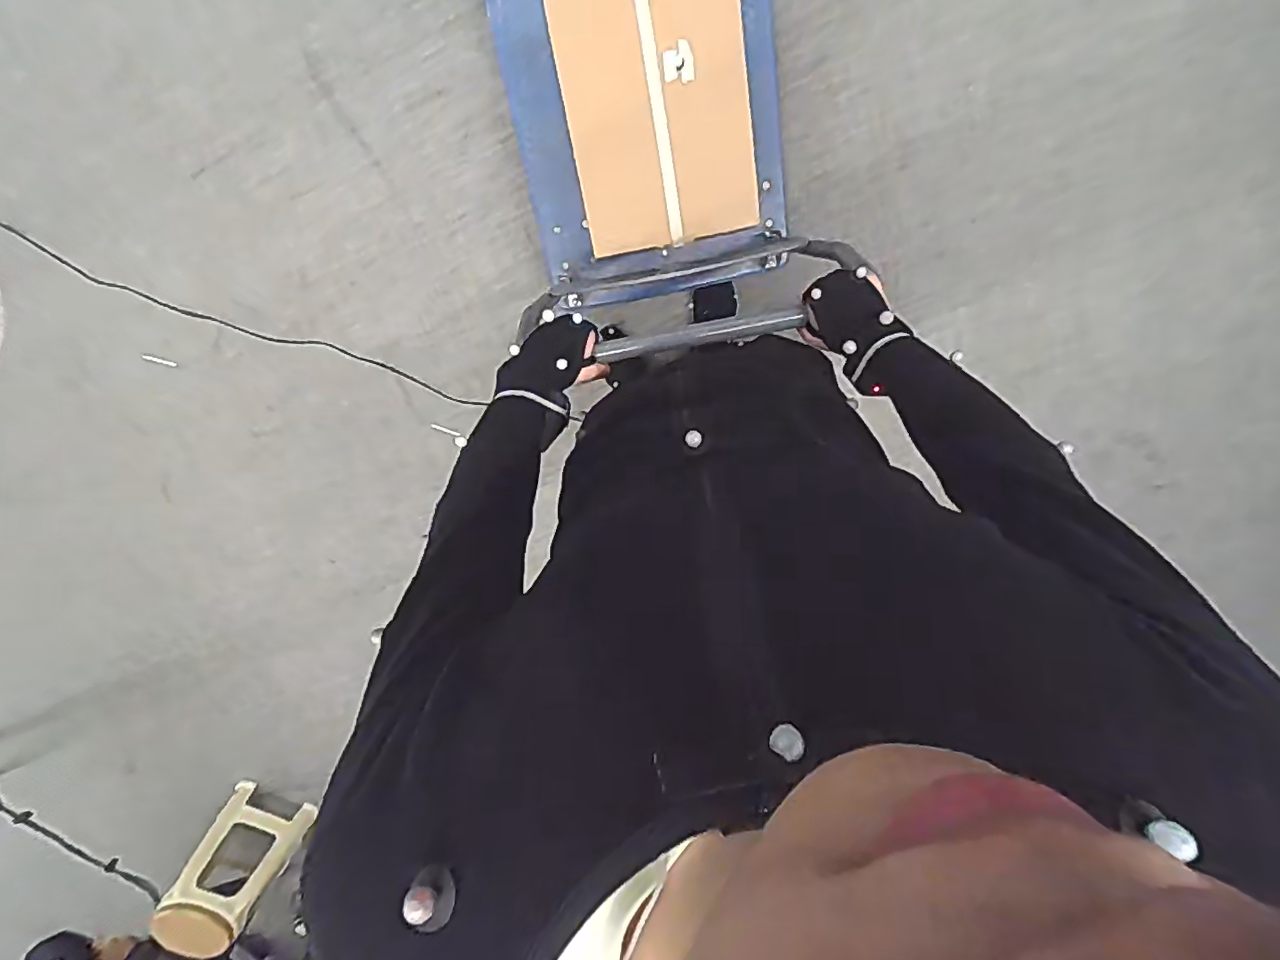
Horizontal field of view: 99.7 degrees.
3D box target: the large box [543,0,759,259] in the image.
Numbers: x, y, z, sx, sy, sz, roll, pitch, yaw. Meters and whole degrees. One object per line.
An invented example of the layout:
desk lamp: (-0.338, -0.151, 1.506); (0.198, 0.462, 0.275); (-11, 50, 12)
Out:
large box: (0.035, -0.681, 1.068); (0.320, 0.320, 0.408); (-9, 111, 5)
